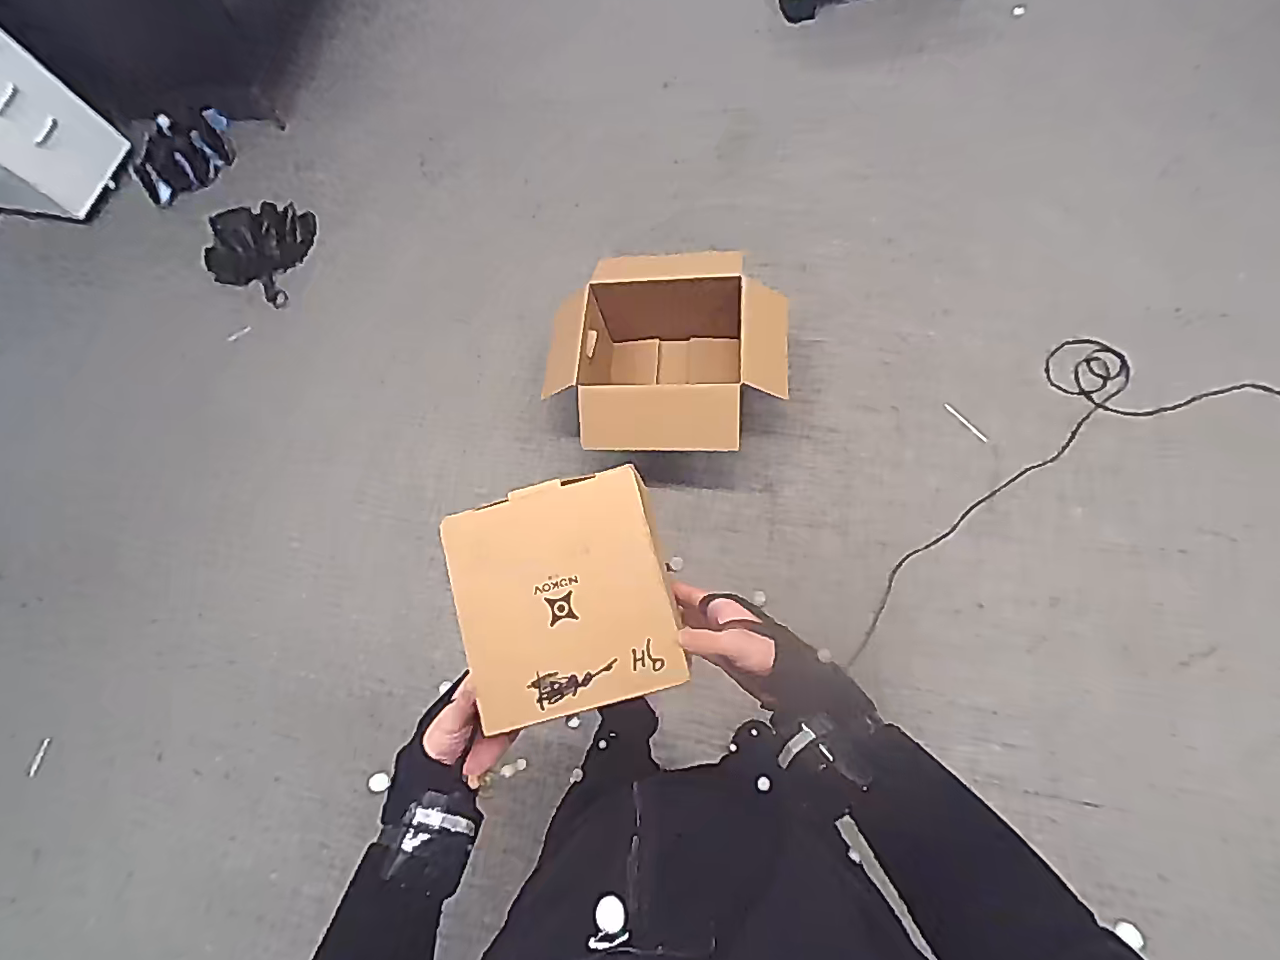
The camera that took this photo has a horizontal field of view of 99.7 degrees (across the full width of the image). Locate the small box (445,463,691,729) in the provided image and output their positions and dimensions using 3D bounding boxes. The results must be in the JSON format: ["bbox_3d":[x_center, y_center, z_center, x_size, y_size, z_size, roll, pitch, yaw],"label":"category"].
[{"bbox_3d":[-0.055,0.102,0.501,0.168,0.176,0.179,-16,79,3],"label":"small box"}]
